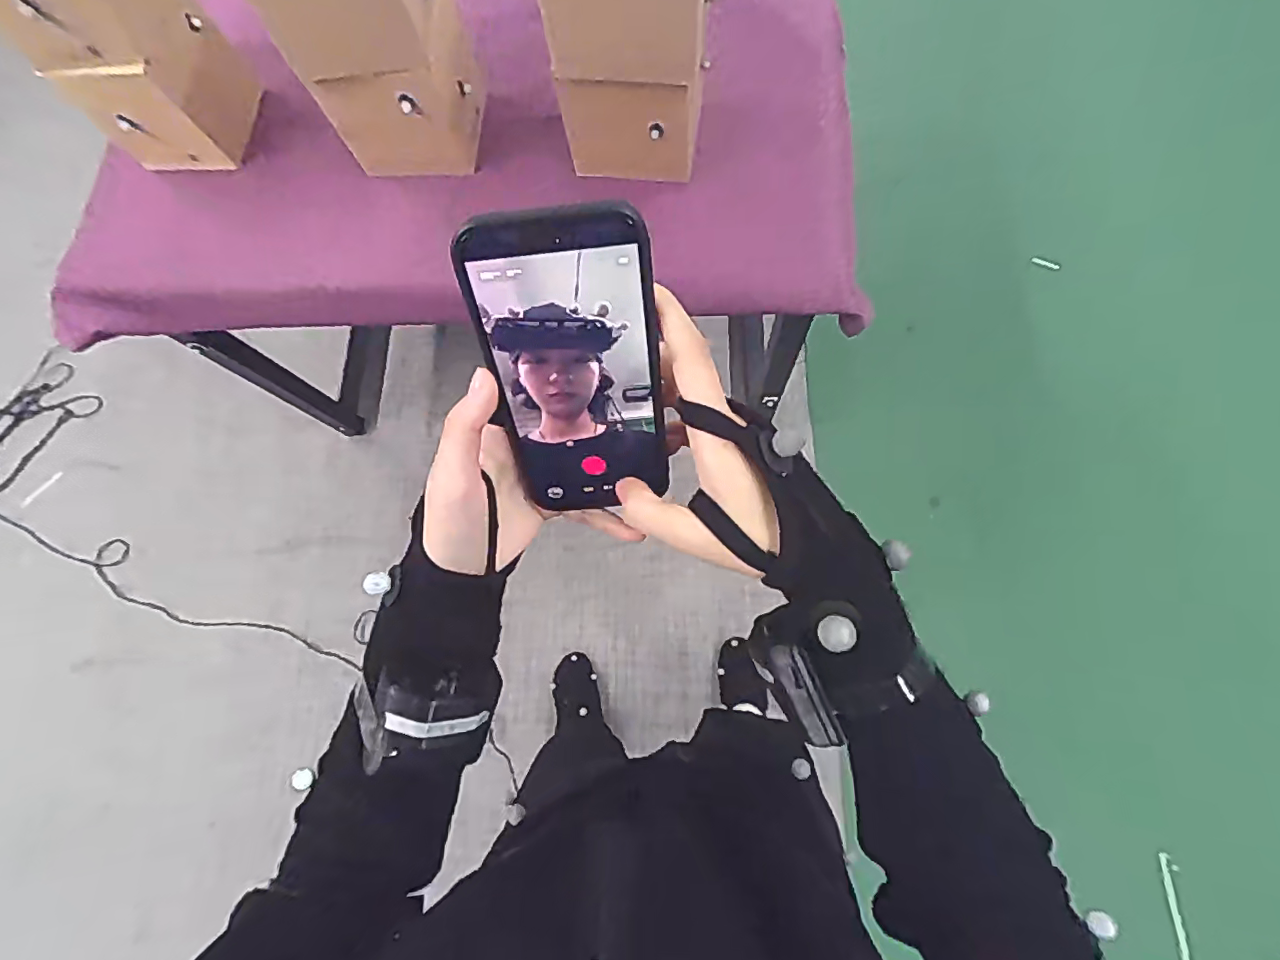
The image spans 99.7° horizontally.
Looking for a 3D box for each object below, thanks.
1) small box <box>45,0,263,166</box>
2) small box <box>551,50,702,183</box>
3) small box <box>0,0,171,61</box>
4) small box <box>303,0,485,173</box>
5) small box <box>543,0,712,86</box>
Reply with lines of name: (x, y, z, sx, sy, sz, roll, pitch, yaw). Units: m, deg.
small box: (-0.732, -0.620, 0.840, 0.168, 0.176, 0.179, 3, 75, 5)
small box: (-0.007, -0.553, 0.766, 0.179, 0.176, 0.168, 9, 75, 7)
small box: (-0.744, -0.671, 0.684, 0.168, 0.176, 0.179, -2, 75, 3)
small box: (-0.345, -0.582, 0.798, 0.179, 0.176, 0.168, 3, 75, 5)
small box: (-0.012, -0.581, 0.603, 0.179, 0.176, 0.168, 8, 75, 6)
